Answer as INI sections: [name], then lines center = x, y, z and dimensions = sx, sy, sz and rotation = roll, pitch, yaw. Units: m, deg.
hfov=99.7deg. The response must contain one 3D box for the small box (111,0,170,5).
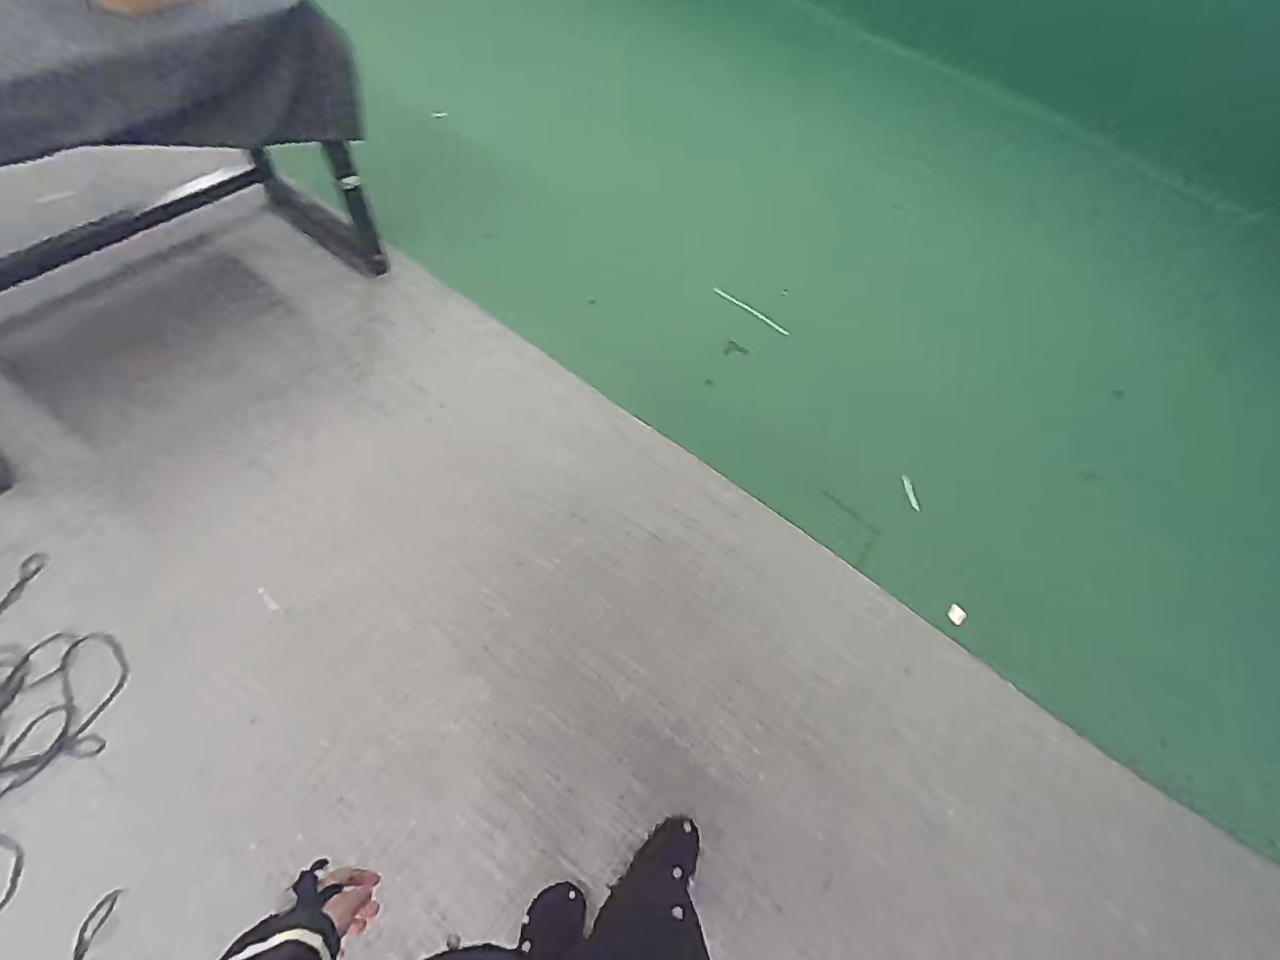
[small box]
center = -1.015, -1.061, 1.050
dimensions = 0.179, 0.176, 0.168
rotation = 37, 60, 15
